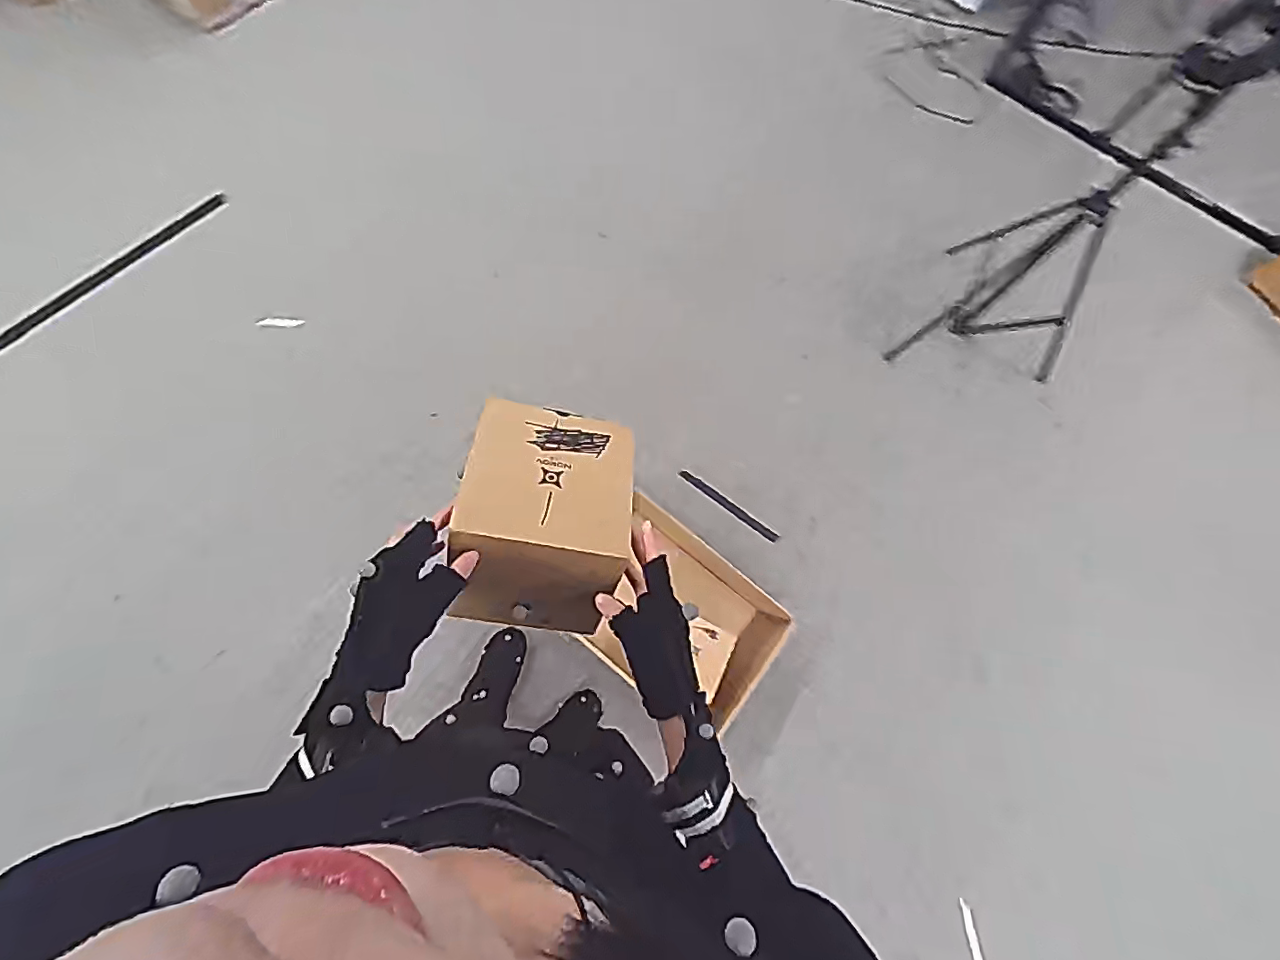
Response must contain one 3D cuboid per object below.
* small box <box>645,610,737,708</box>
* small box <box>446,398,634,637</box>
[{"bbox_3d":[0.123,0.456,1.378,0.168,0.176,0.179,27,70,3],"label":"small box"},{"bbox_3d":[-0.107,0.045,0.580,0.168,0.176,0.179,10,48,-11],"label":"small box"}]
